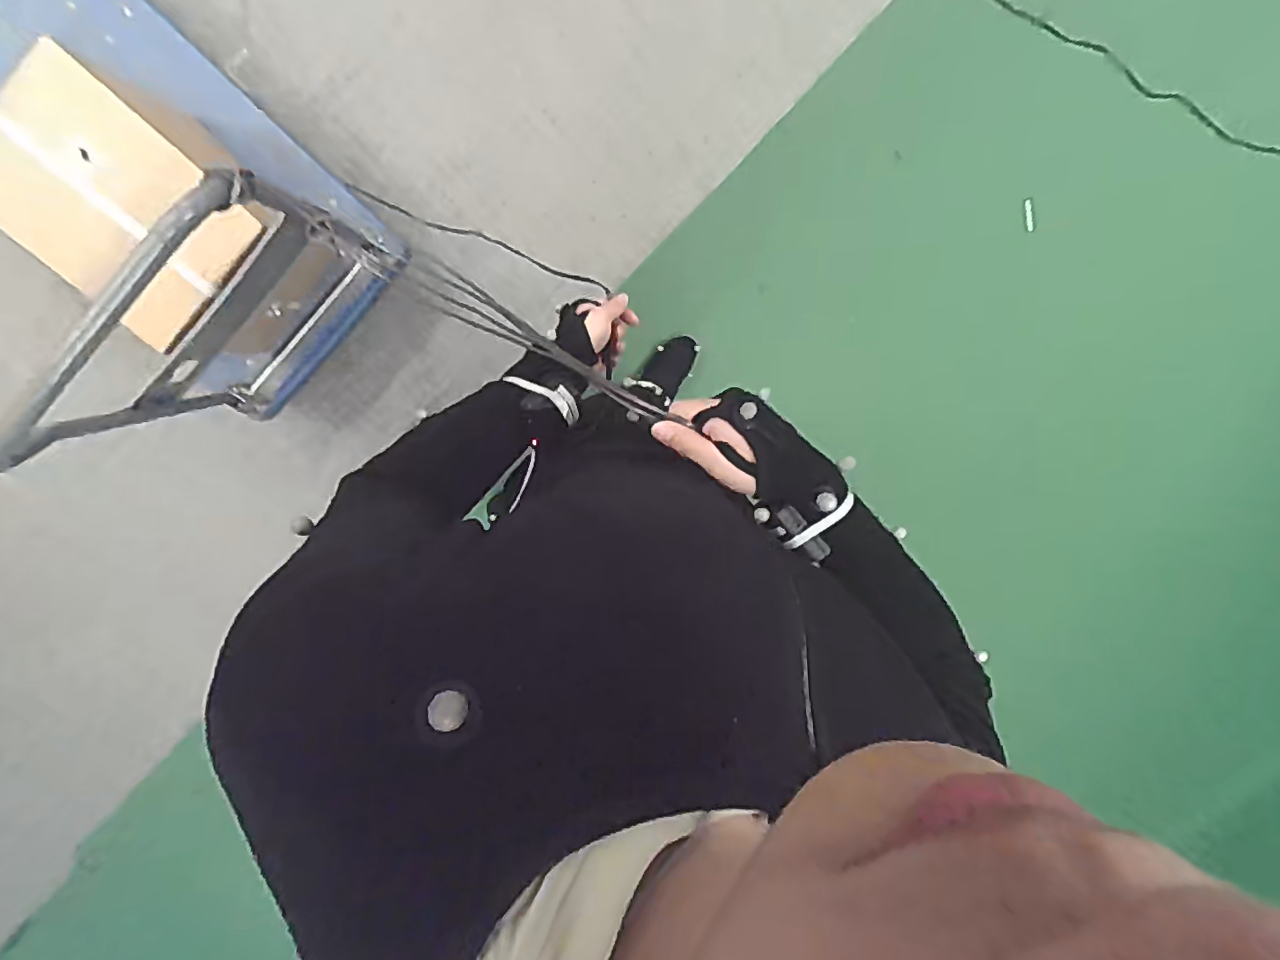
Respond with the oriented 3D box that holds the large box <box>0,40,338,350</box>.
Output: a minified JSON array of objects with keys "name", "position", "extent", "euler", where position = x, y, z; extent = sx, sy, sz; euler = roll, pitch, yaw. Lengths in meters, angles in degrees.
[{"name":"large box","position":[-0.918,-0.507,1.070],"extent":[0.408,0.320,0.320],"euler":[43,96,-12]}]
